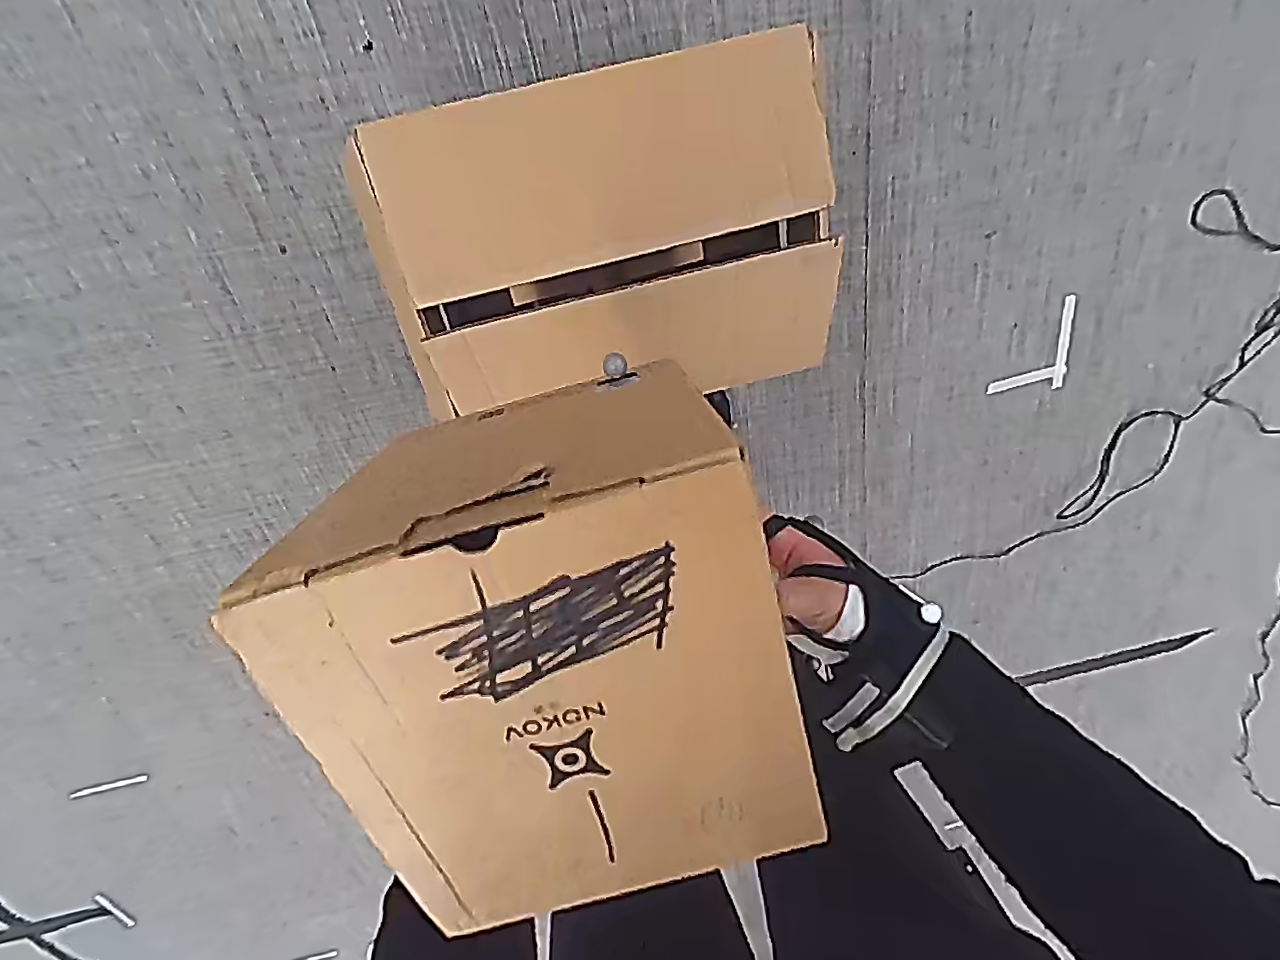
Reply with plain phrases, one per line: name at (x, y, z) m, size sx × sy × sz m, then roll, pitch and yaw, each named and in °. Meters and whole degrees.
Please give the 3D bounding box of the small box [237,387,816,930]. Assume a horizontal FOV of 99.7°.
small box at (-0.033, 0.063, 0.269) m, size 0.168 × 0.176 × 0.179 m, roll -16°, pitch 113°, yaw 2°
